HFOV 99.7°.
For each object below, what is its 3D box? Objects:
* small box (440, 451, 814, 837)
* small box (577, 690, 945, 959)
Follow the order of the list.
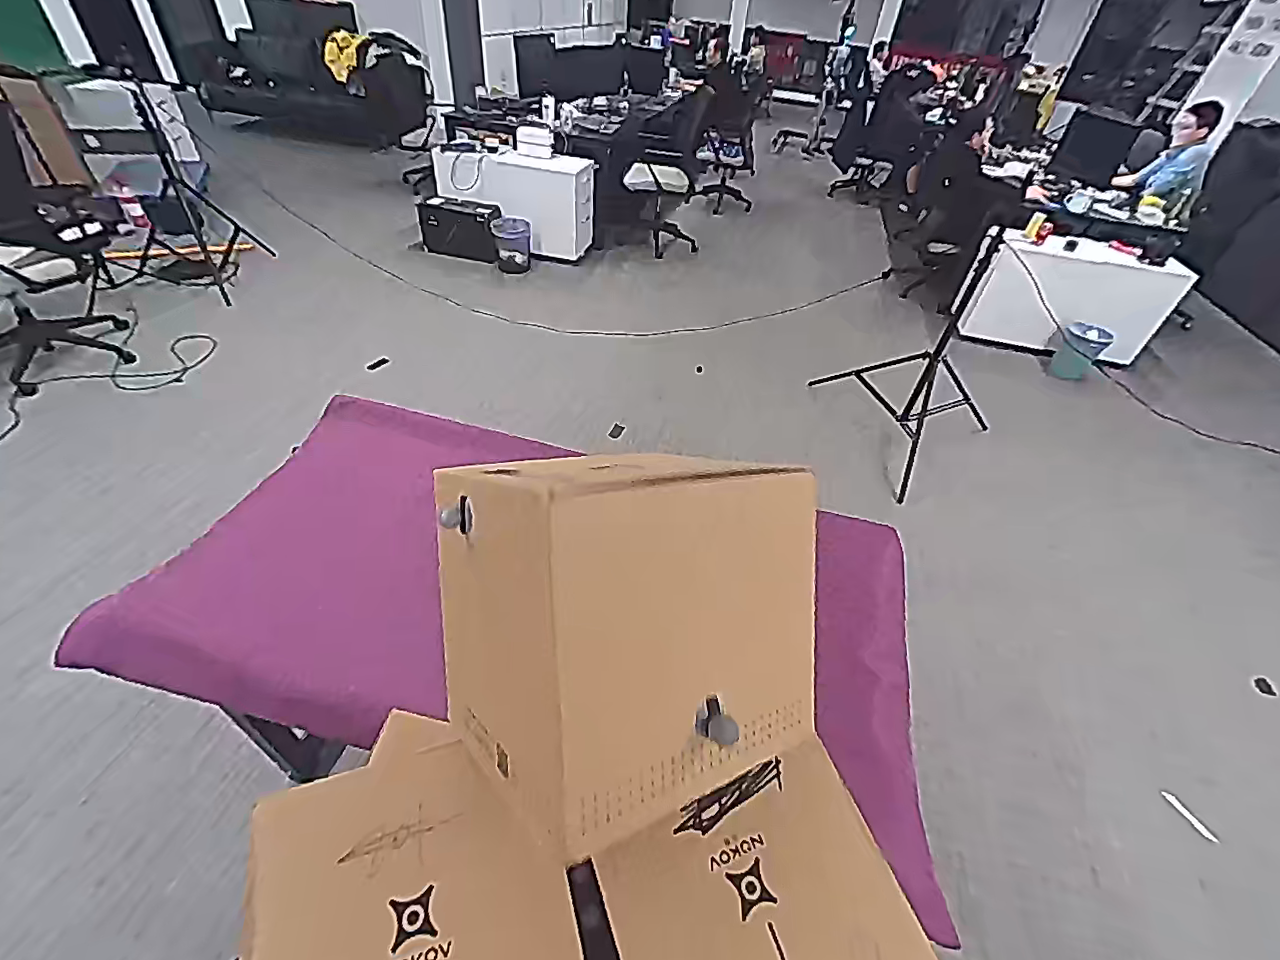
[{"bbox_3d":[-0.014,0.069,0.335,0.179,0.176,0.168,-3,2,-35],"label":"small box"},{"bbox_3d":[0.053,0.269,0.371,0.168,0.176,0.179,-14,55,-17],"label":"small box"}]
